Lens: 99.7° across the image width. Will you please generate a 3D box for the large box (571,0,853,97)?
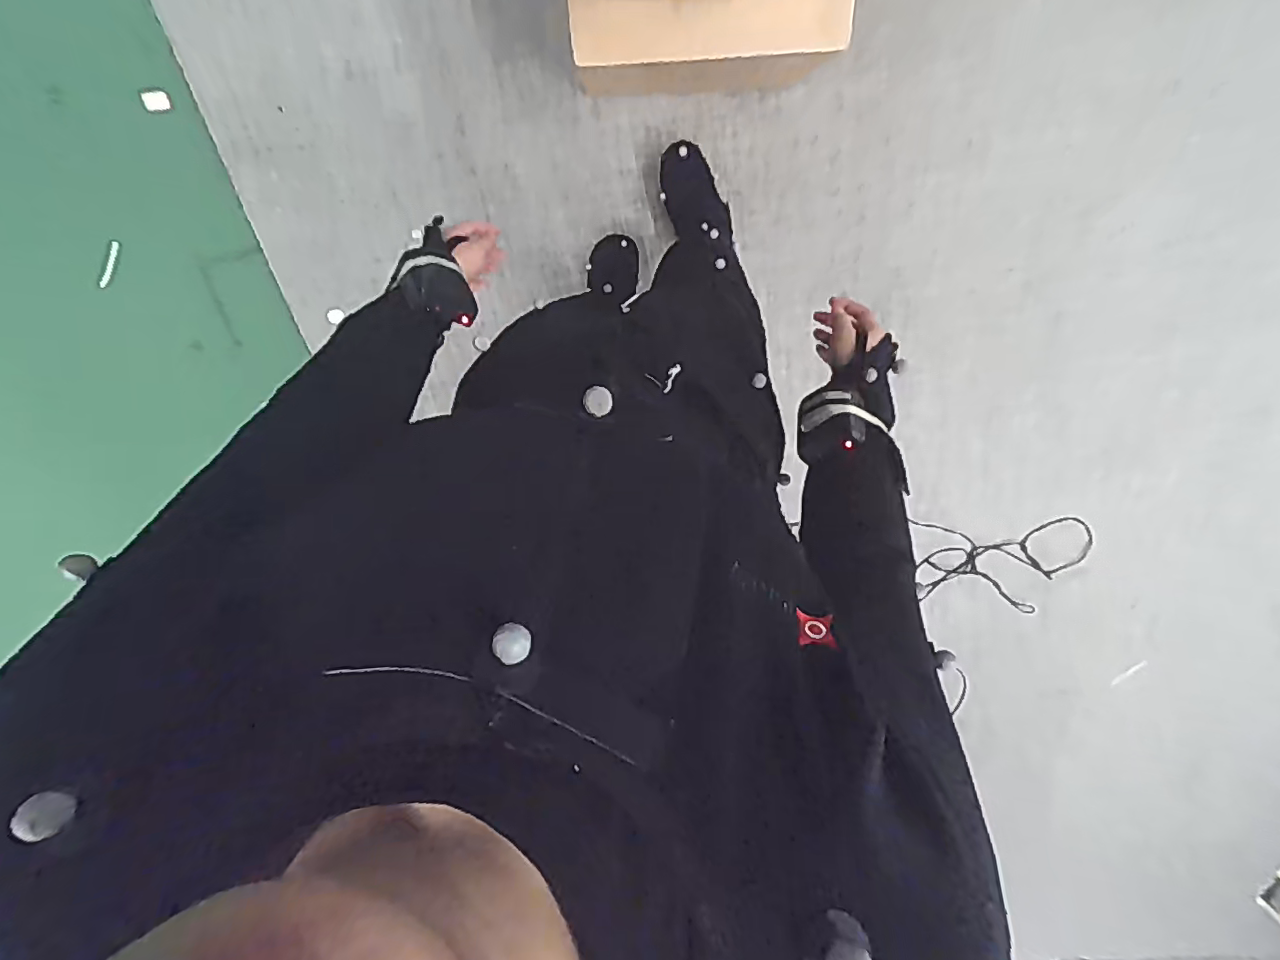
[{"bbox_3d":[0.088,-0.820,0.841,0.408,0.320,0.320,-4,120,0],"label":"large box"}]
